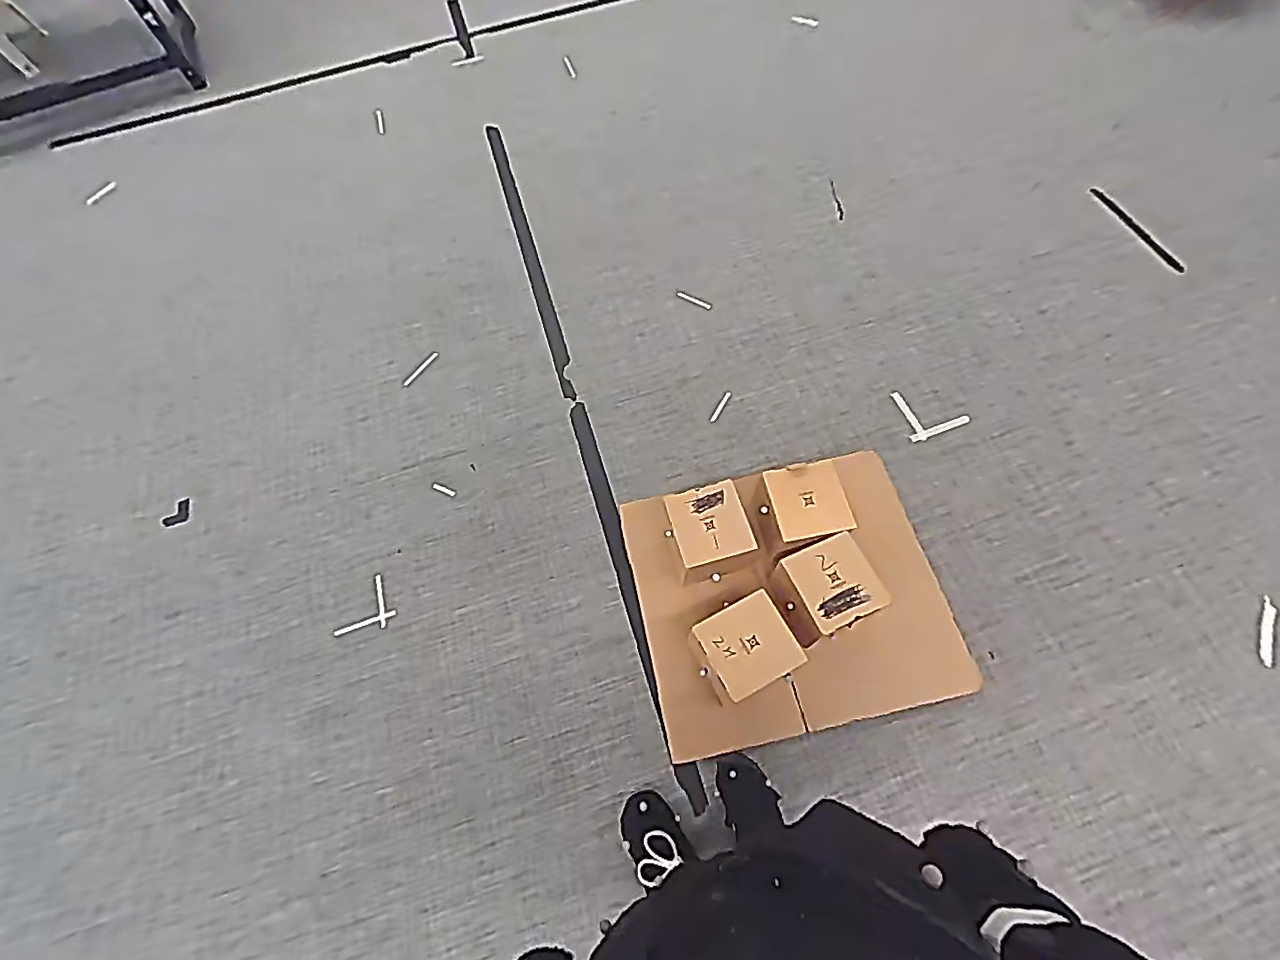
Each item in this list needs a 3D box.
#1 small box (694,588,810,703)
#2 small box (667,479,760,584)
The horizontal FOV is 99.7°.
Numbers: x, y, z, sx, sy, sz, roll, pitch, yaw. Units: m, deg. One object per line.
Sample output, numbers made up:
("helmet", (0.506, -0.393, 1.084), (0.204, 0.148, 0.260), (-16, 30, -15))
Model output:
("small box", (0.227, 0.358, 1.154), (0.179, 0.176, 0.168), (-26, 66, -9))
("small box", (0.162, 0.124, 1.266), (0.168, 0.176, 0.179), (-15, 66, -4))
